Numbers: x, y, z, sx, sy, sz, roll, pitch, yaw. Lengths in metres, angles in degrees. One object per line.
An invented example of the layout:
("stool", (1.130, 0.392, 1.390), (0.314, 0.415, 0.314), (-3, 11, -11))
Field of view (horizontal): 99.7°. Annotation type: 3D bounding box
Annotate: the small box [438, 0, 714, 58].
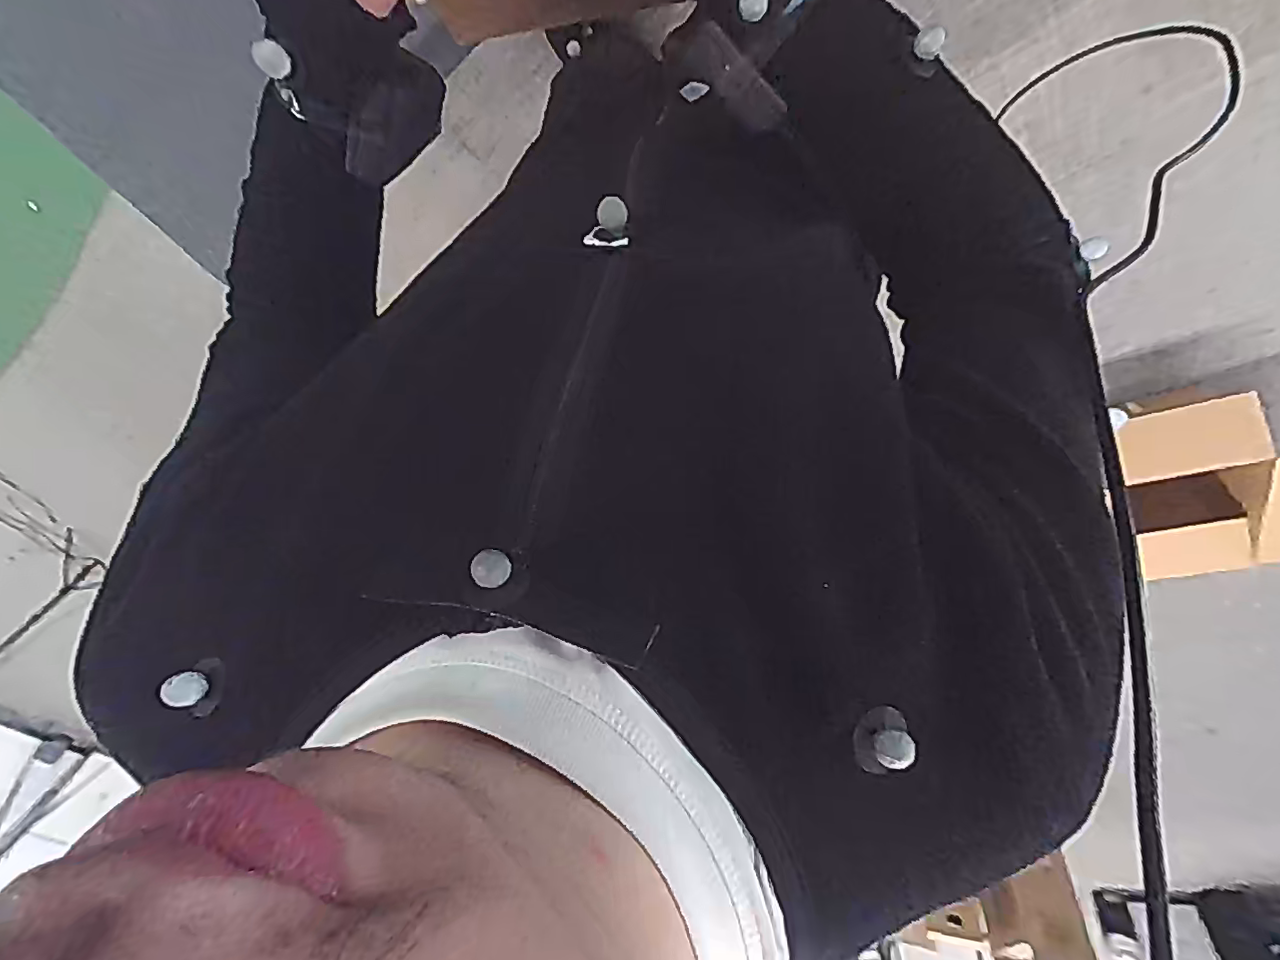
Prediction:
("small box", (-0.047, -0.361, 0.262), (0.168, 0.179, 0.176), (-6, 97, 4))
